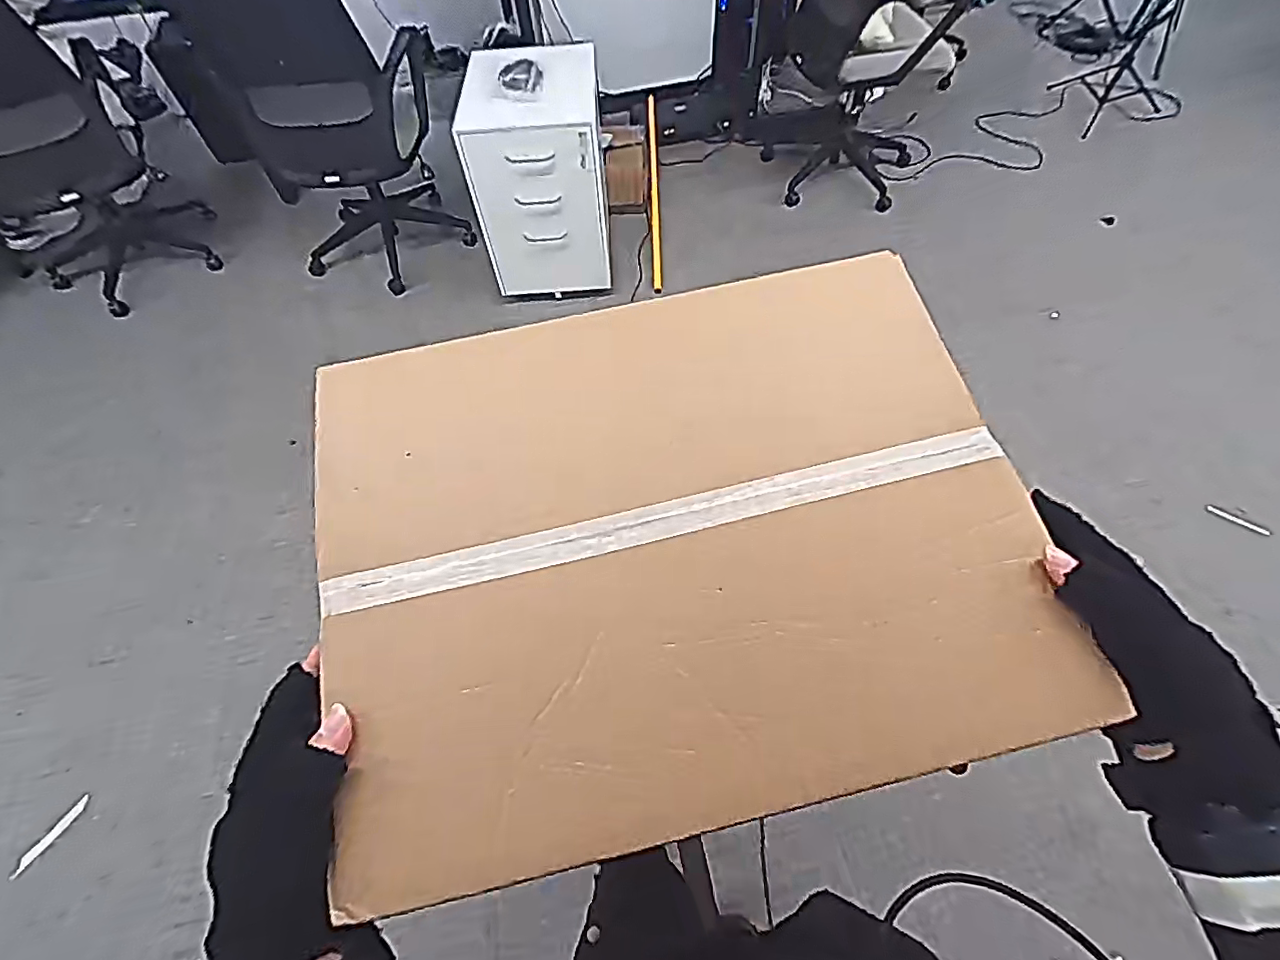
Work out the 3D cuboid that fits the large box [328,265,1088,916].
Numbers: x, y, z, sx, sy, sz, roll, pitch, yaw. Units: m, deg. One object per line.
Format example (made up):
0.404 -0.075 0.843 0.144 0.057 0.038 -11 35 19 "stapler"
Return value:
0.021 0.080 0.467 0.408 0.320 0.320 -13 69 -3 "large box"
